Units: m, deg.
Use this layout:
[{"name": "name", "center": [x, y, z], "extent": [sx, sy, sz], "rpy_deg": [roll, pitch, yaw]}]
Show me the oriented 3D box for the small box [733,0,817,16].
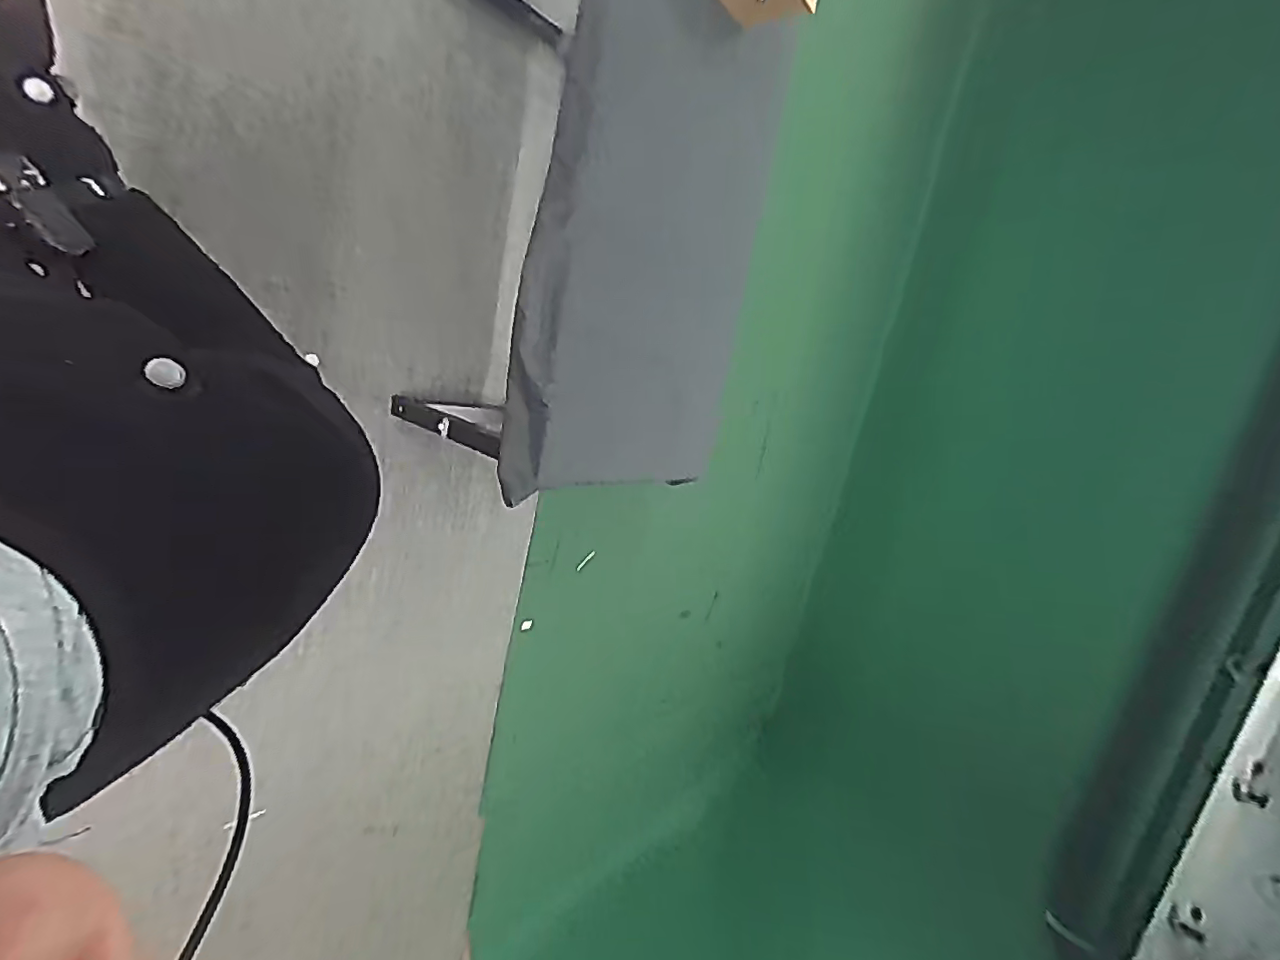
[{"name": "small box", "center": [0.257, -1.058, 1.056], "extent": [0.179, 0.176, 0.168], "rpy_deg": [-3, 111, -48]}]
